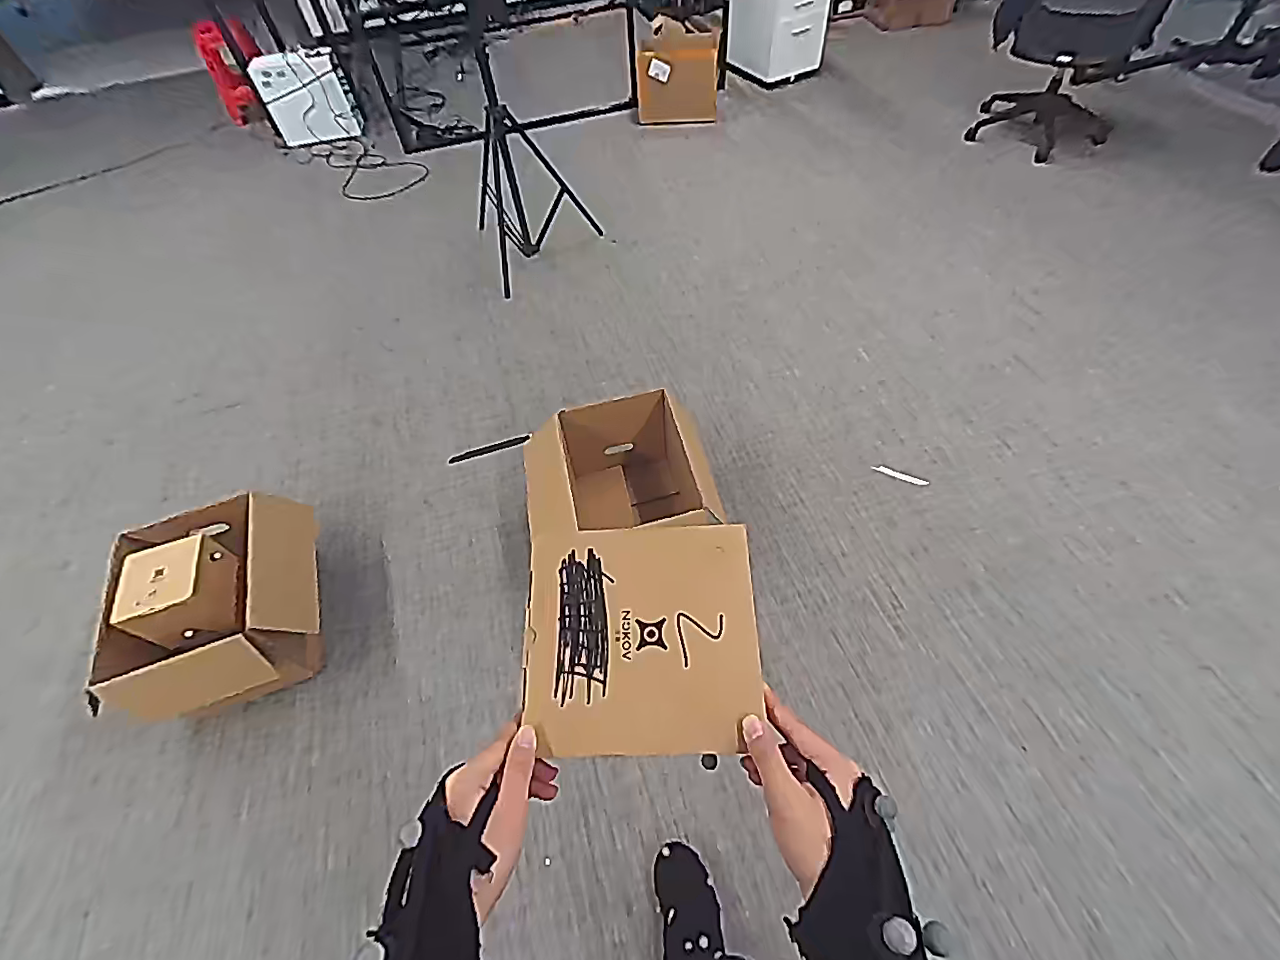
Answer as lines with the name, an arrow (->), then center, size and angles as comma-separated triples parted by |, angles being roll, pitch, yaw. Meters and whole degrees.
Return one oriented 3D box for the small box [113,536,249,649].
small box -> -1.053, 0.265, 1.260 | 0.168, 0.176, 0.179 | -18, 55, -8
